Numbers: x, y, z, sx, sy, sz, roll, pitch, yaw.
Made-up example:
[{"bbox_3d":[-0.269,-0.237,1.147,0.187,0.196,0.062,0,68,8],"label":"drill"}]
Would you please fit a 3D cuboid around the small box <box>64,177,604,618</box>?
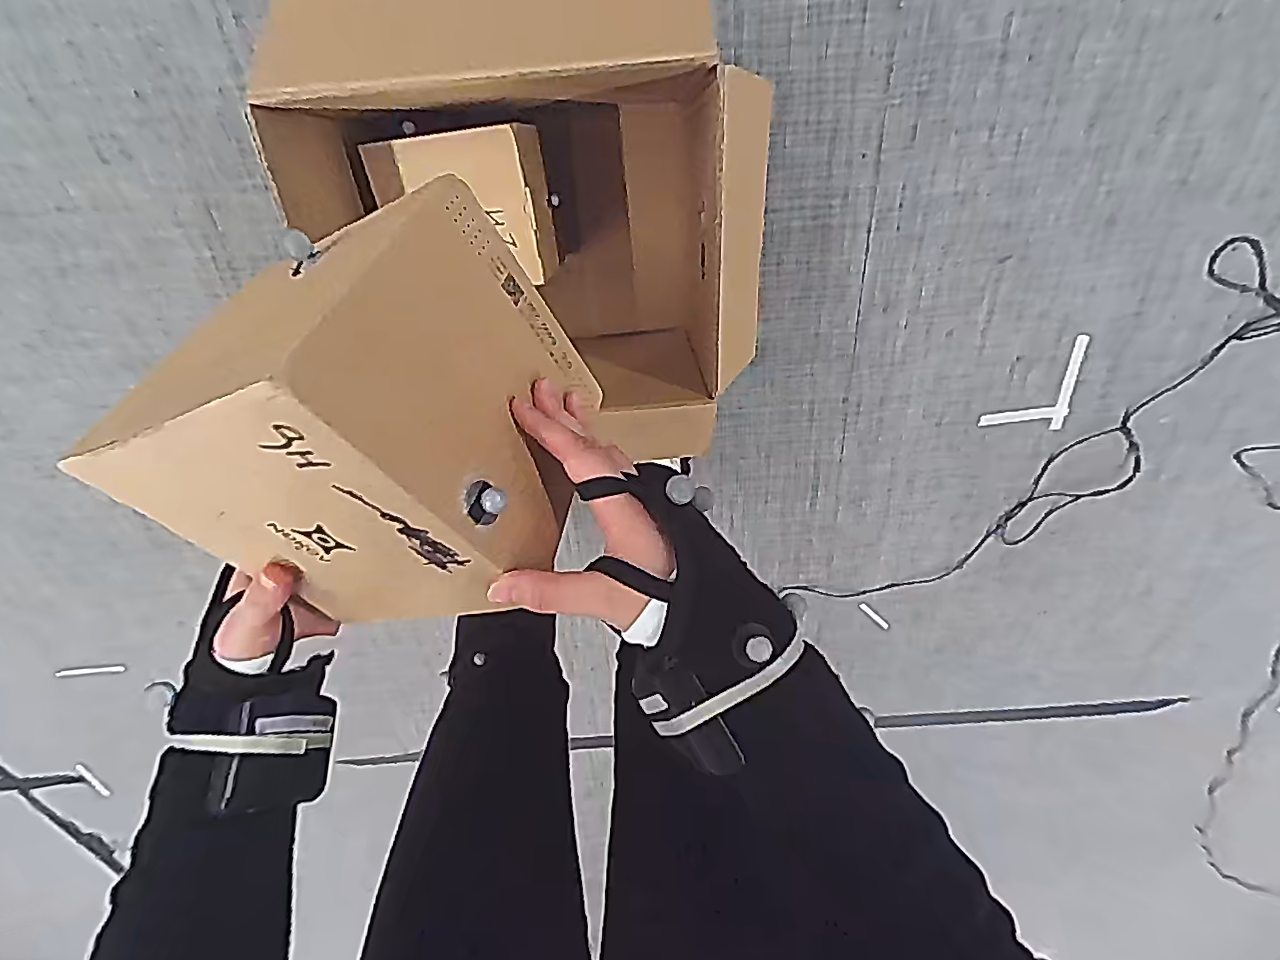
[{"bbox_3d":[-0.143,-0.036,0.314,0.179,0.176,0.168,-10,137,25],"label":"small box"}]
